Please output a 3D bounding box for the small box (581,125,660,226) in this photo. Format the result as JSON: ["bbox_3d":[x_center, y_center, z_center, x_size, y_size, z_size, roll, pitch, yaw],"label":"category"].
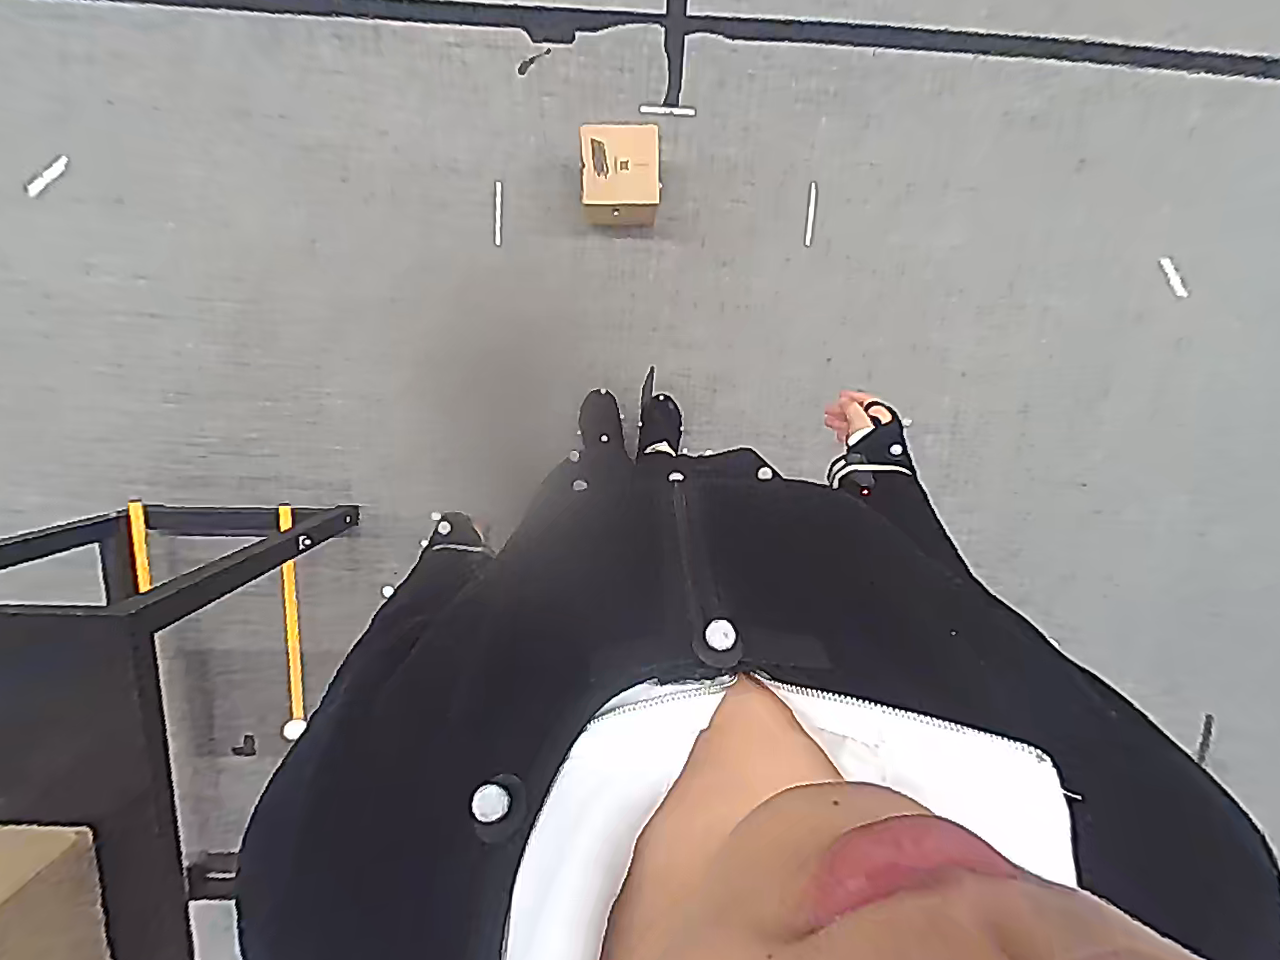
[{"bbox_3d":[-0.045,-0.713,1.282,0.179,0.176,0.168,-2,100,-3],"label":"small box"}]
